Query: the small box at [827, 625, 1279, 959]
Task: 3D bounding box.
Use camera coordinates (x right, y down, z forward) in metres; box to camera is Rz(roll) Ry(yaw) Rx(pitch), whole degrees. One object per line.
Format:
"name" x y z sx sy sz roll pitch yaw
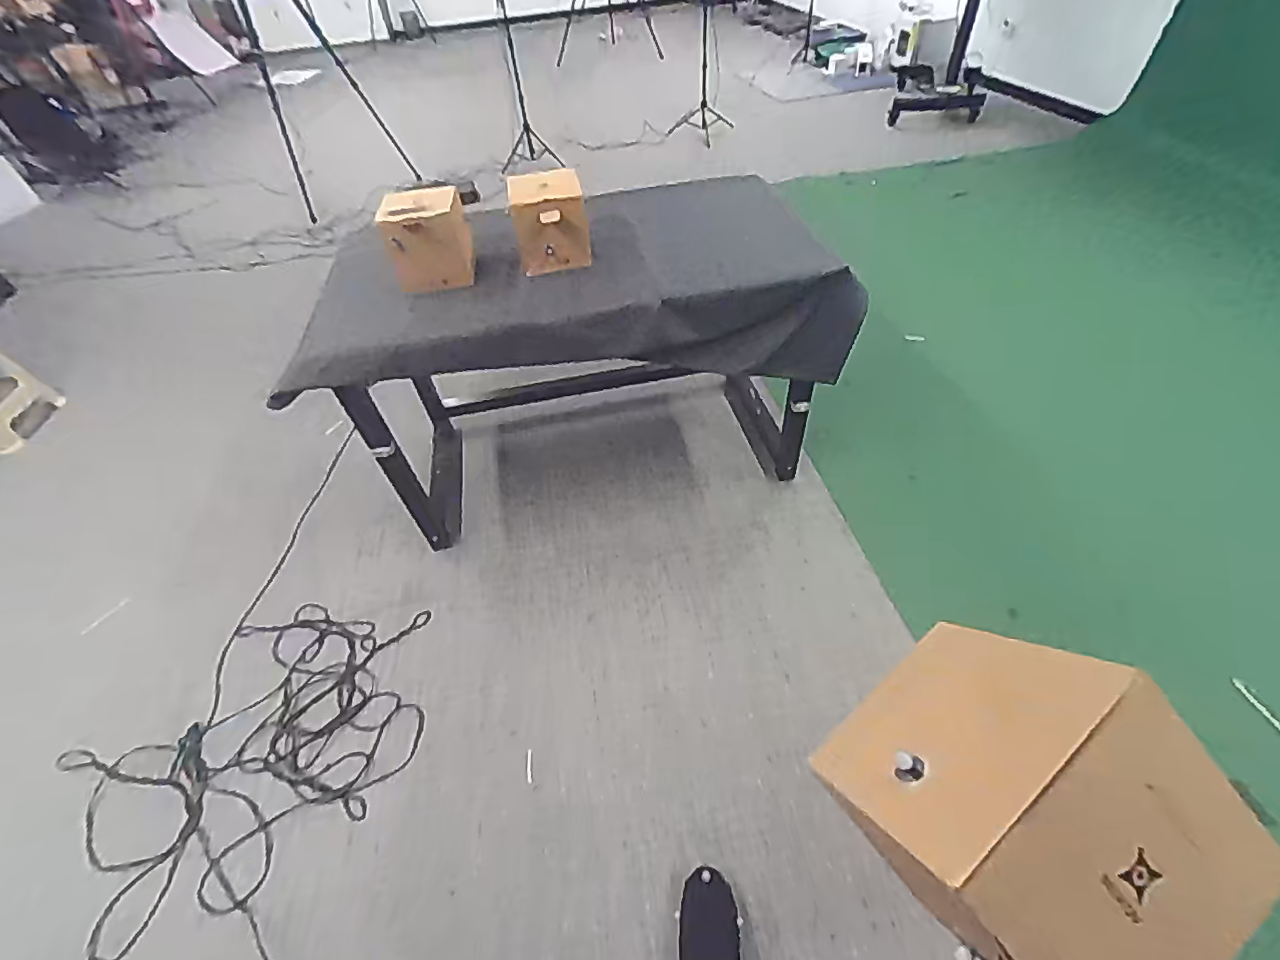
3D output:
"small box" 0.265 0.232 0.389 0.179 0.176 0.168 -40 95 -13

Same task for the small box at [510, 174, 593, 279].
"small box" -0.213 -0.610 1.302 0.168 0.176 0.179 -11 48 -5
